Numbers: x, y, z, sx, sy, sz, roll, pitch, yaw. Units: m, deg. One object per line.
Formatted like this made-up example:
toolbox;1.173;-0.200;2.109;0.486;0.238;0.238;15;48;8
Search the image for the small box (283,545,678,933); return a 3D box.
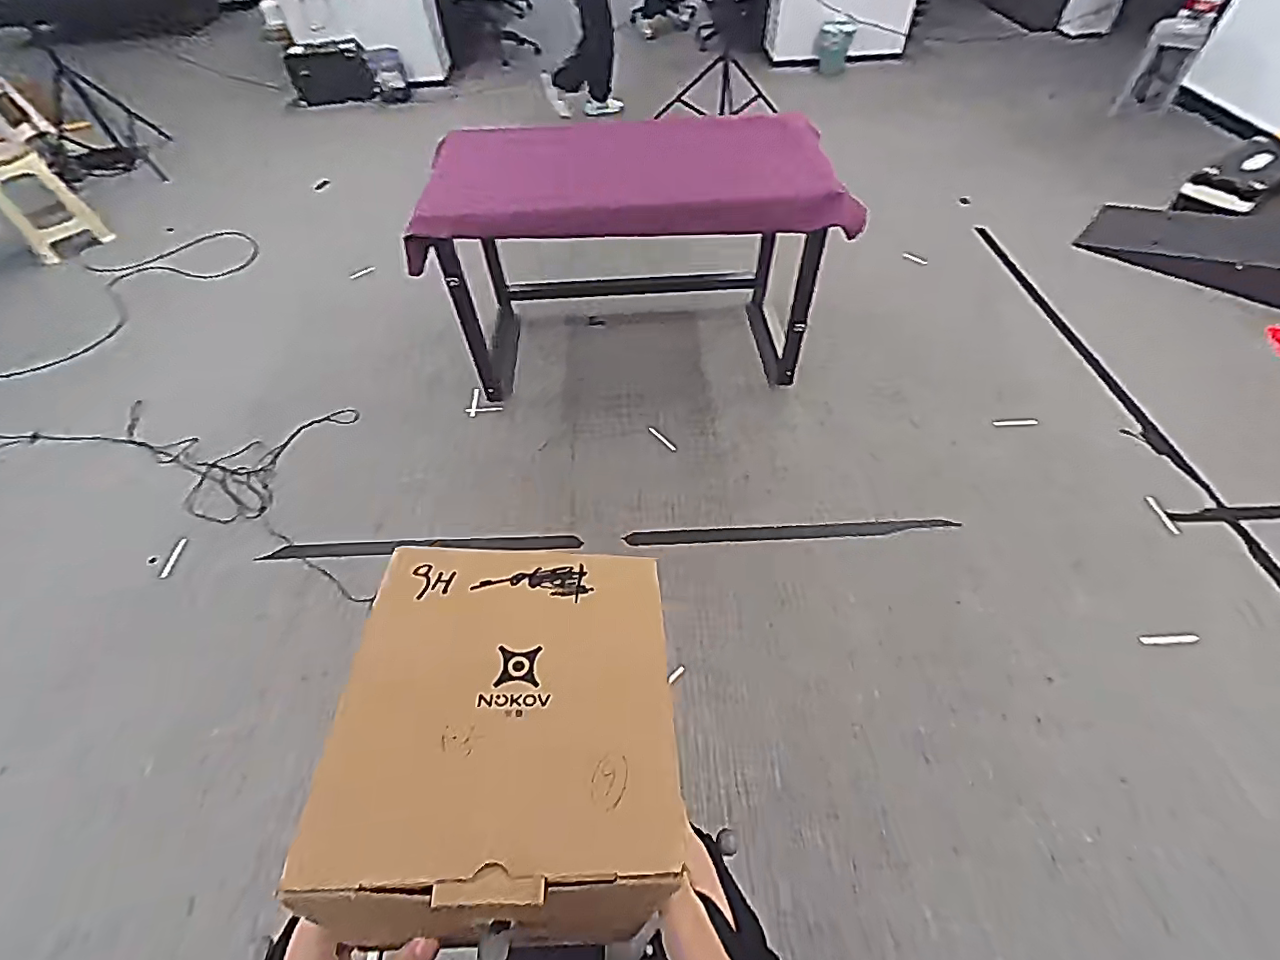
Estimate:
small box;-0.077;0.163;0.338;0.168;0.176;0.179;4;43;-8
